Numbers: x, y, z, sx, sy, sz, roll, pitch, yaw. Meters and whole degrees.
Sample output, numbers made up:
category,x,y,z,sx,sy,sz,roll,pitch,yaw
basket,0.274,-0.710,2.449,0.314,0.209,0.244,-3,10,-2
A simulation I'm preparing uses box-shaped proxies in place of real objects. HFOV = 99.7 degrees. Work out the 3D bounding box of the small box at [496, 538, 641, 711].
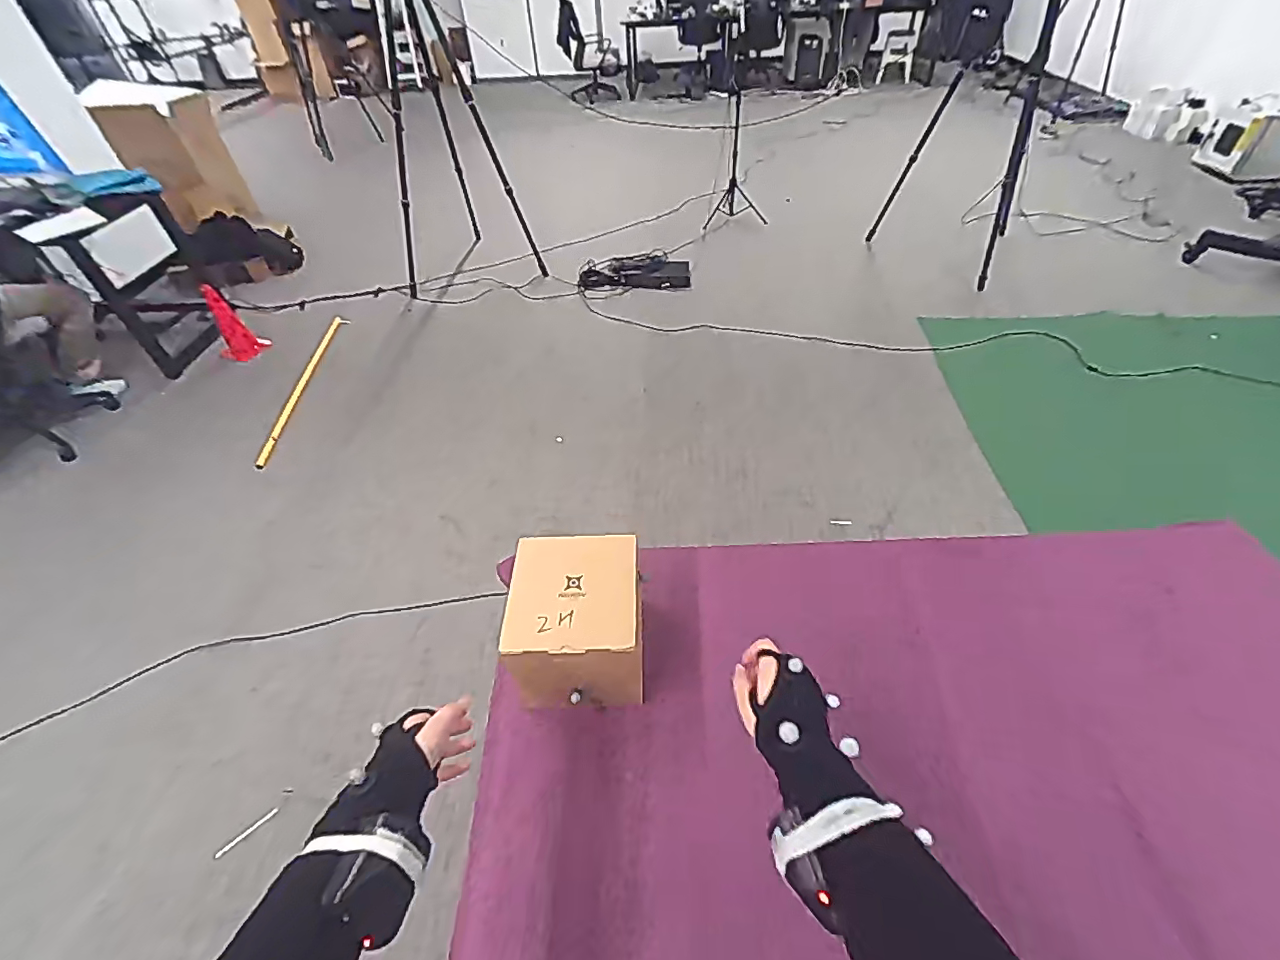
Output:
category,x,y,z,sx,sy,sz,roll,pitch,yaw
small box,-0.086,0.201,0.753,0.168,0.176,0.179,-2,45,3
